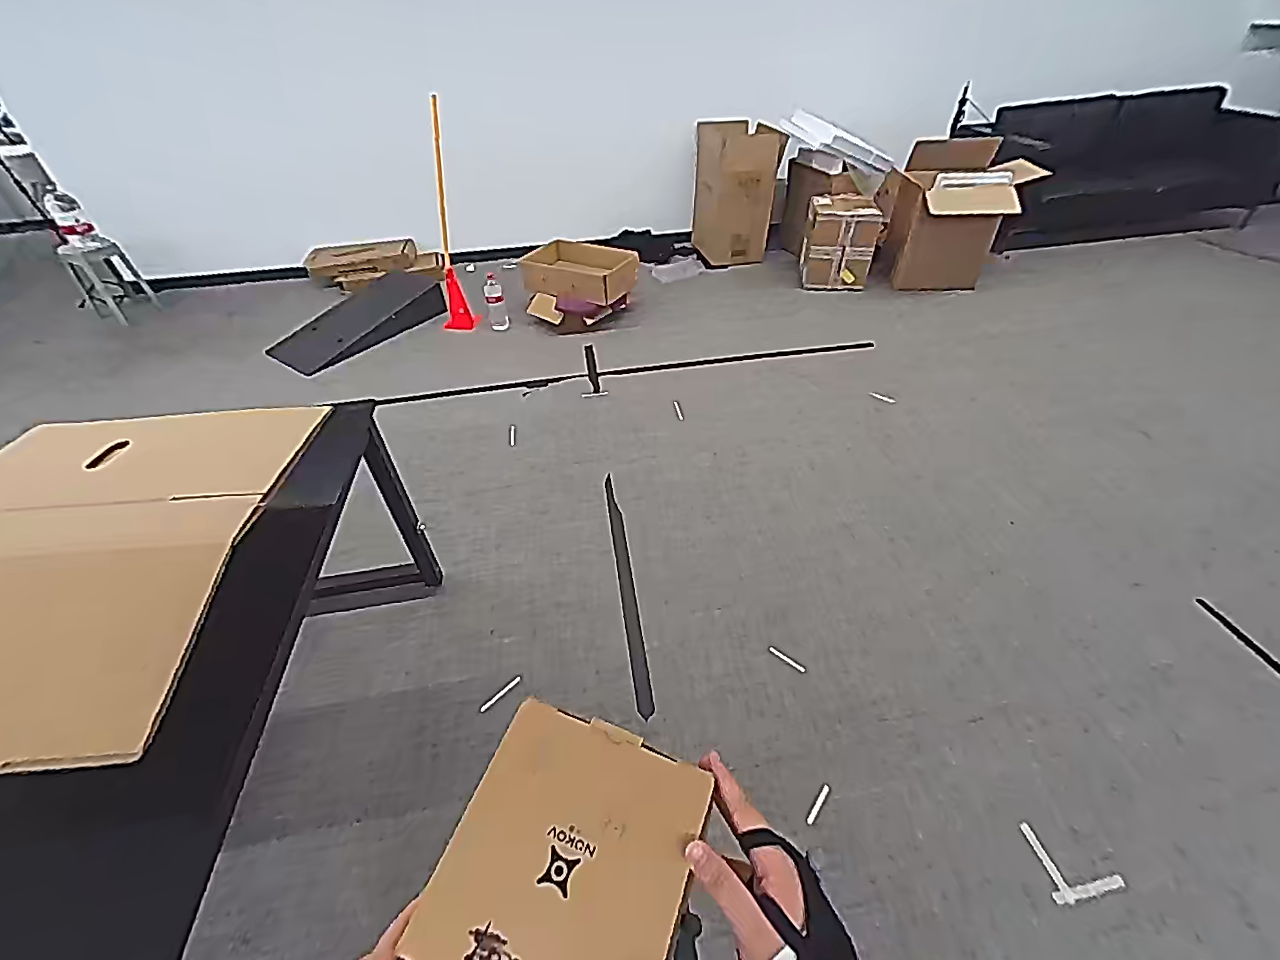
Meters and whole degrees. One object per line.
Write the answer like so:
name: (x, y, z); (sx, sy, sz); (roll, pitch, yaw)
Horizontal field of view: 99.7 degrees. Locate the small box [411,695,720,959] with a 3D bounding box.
small box: (-0.041, 0.313, 0.440); (0.168, 0.176, 0.179); (14, 52, 18)
